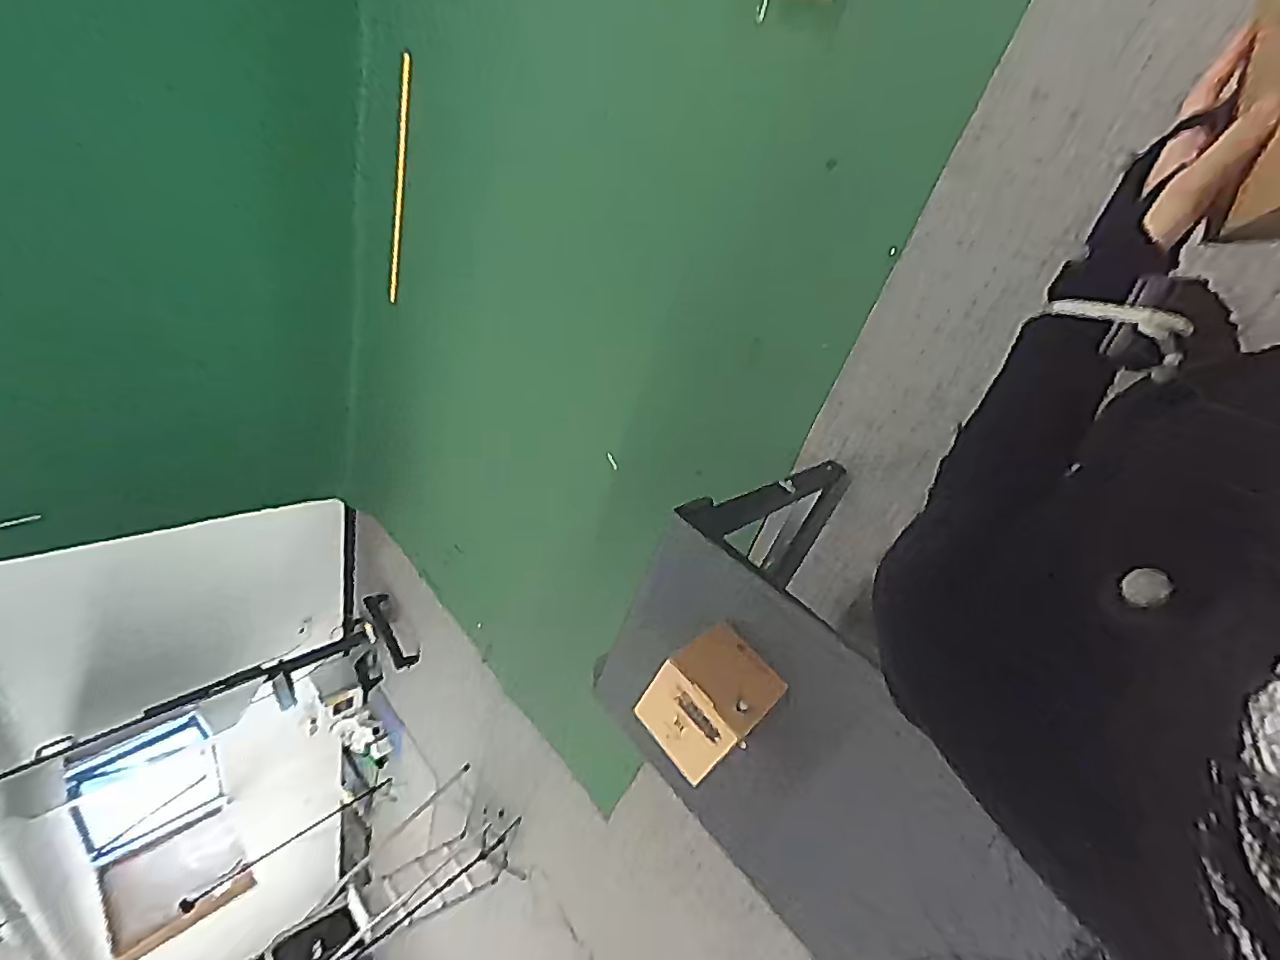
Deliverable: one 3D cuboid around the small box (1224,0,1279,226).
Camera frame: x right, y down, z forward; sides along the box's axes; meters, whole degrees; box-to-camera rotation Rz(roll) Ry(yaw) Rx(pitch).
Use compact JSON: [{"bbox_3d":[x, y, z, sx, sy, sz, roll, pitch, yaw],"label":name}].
[{"bbox_3d":[0.437,-0.238,0.261,0.168,0.176,0.179,9,109,32],"label":"small box"}]
